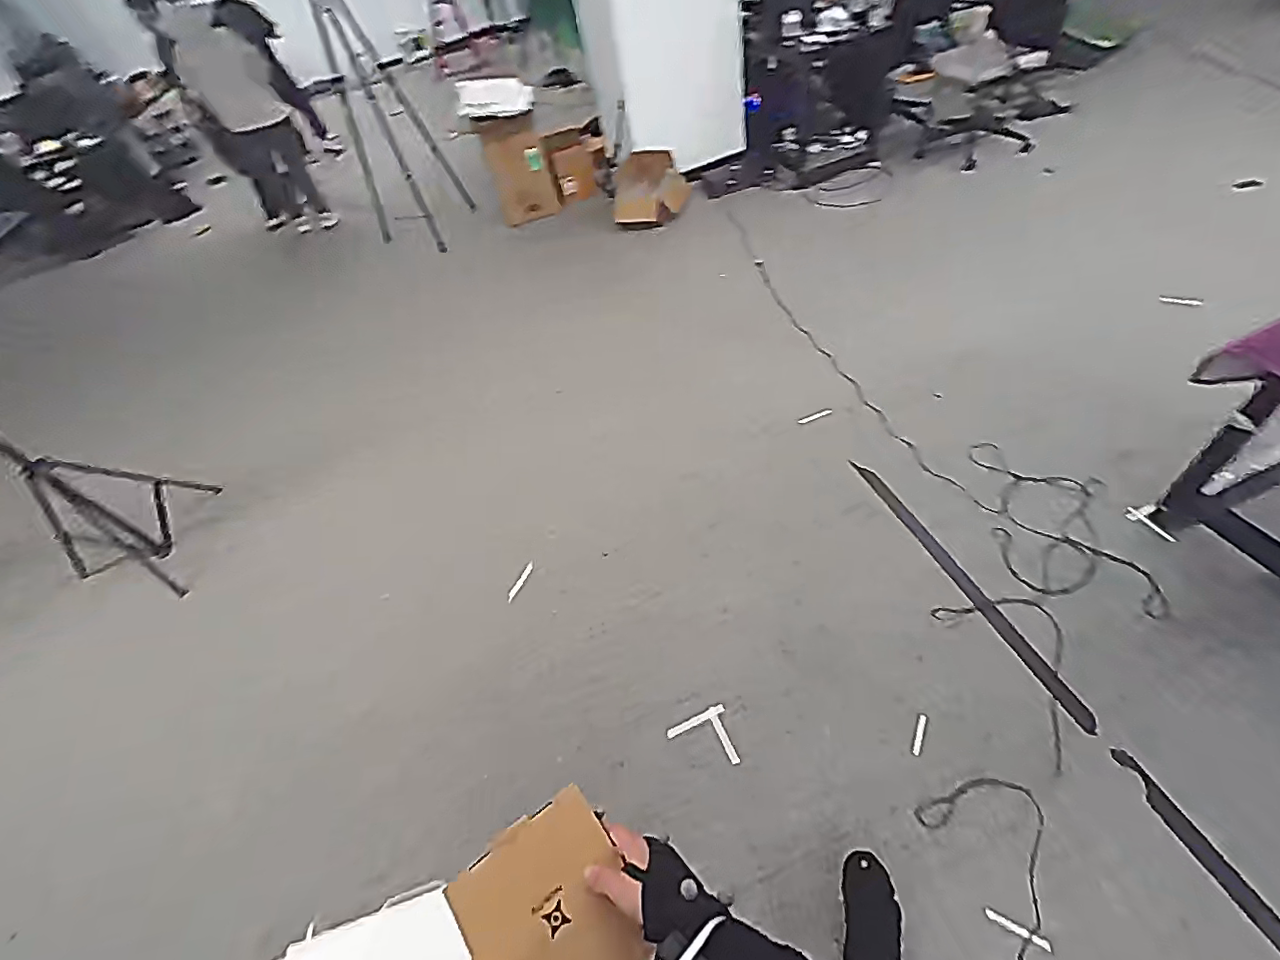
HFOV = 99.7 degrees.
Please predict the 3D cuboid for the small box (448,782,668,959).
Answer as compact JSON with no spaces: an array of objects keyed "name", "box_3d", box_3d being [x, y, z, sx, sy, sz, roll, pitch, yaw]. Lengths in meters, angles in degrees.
[{"name":"small box","box_3d":[-0.088,0.485,0.613,0.168,0.176,0.179,-29,58,-23]}]
